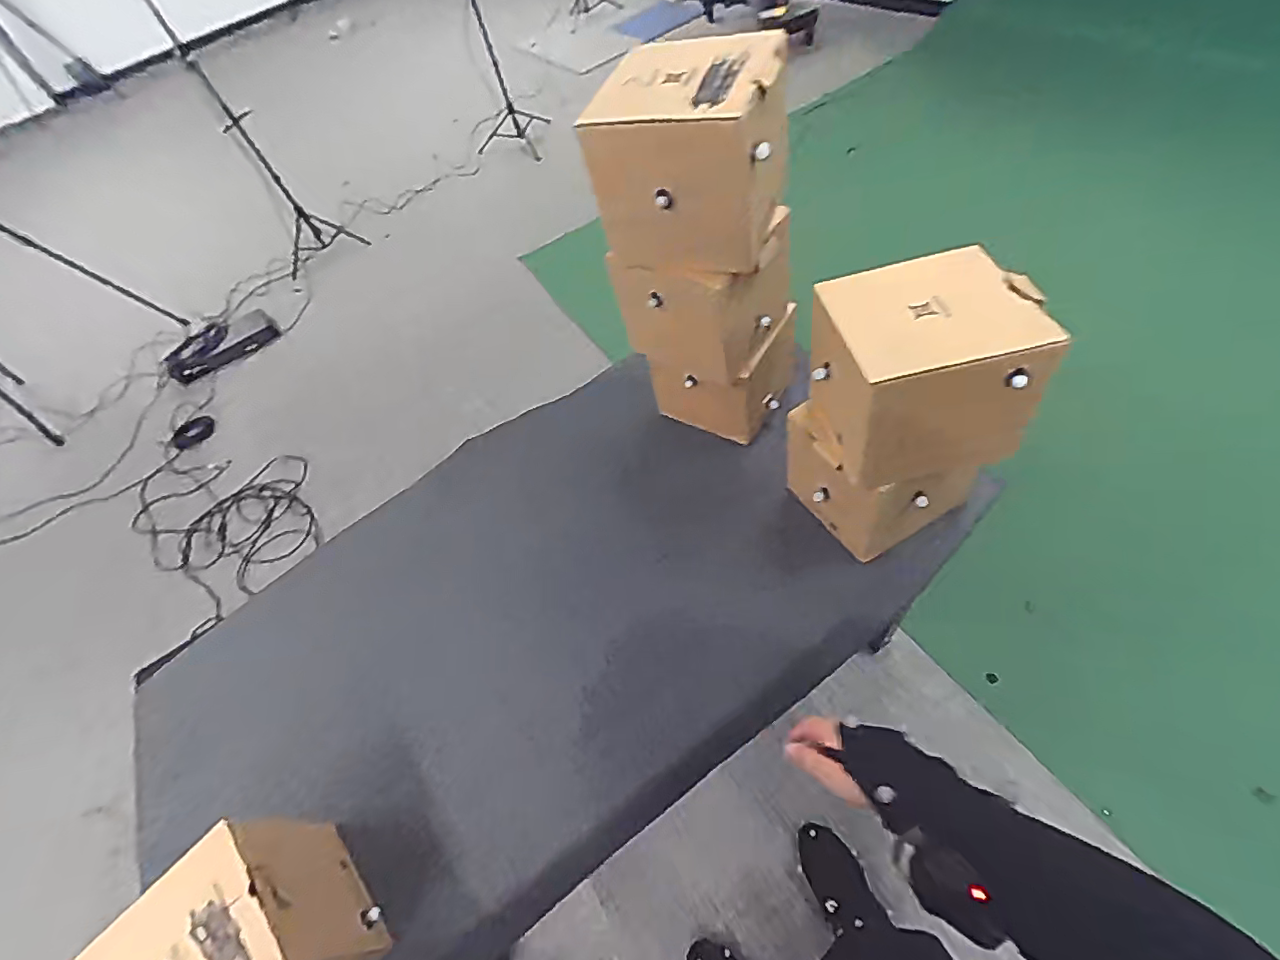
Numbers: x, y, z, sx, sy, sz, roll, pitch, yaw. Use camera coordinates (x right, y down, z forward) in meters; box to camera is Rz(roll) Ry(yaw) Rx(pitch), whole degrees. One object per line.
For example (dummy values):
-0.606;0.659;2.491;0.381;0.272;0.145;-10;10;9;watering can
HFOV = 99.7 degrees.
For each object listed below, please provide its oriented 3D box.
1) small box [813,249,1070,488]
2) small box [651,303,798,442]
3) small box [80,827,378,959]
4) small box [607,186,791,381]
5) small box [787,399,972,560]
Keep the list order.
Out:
0.296;-0.112;0.583;0.179;0.176;0.168;-12;52;5;small box
0.136;-0.187;0.877;0.179;0.176;0.168;25;68;24;small box
-0.397;0.484;0.538;0.168;0.176;0.179;35;70;30;small box
0.087;-0.263;0.737;0.179;0.176;0.168;28;70;27;small box
0.319;-0.024;0.720;0.179;0.176;0.168;-30;52;-7;small box
